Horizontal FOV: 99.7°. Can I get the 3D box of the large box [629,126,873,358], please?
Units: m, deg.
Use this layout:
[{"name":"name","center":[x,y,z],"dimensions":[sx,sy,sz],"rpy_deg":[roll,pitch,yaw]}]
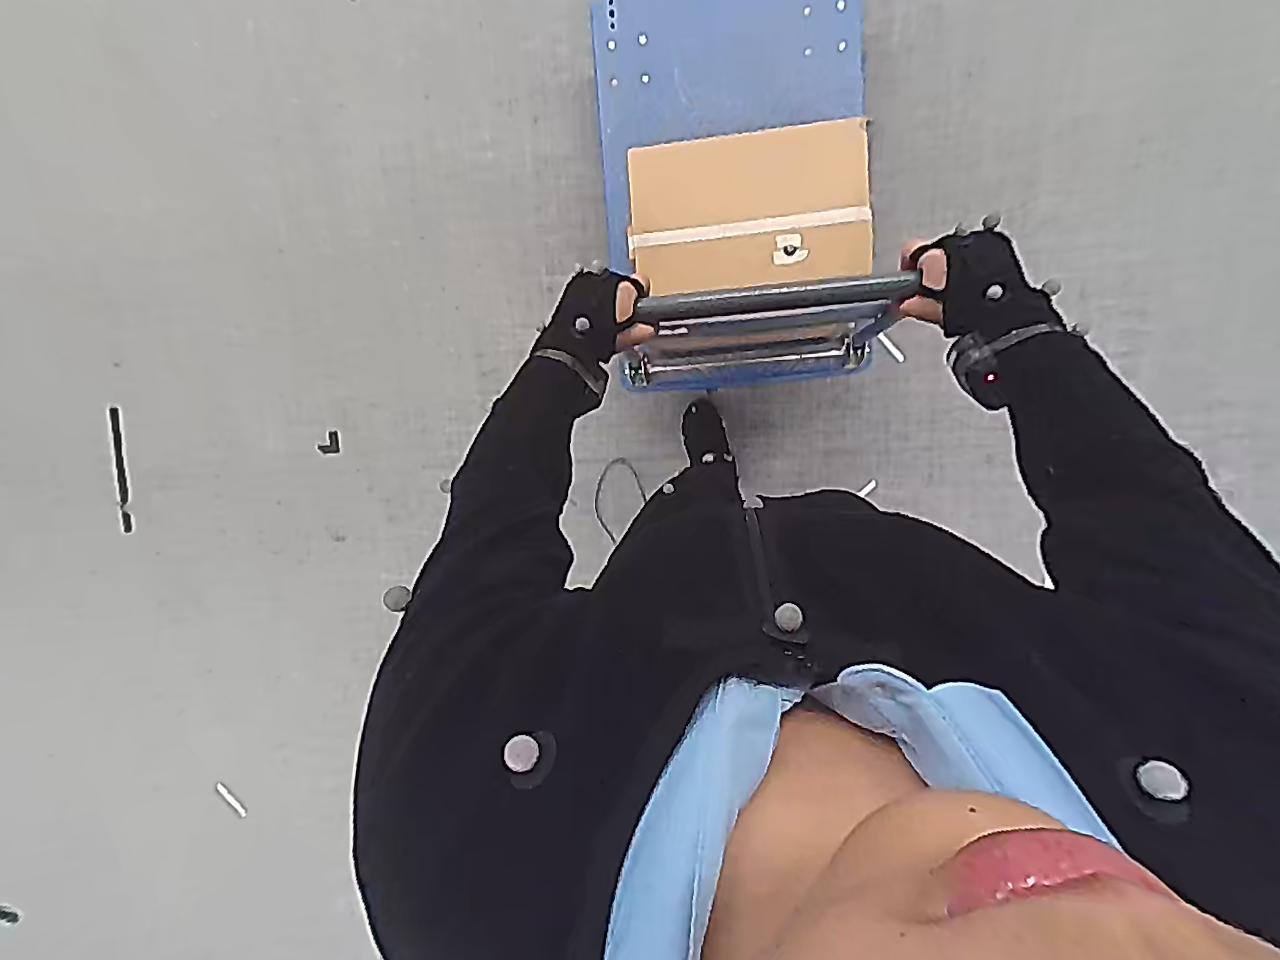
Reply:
[{"name":"large box","center":[0.203,-0.433,1.074],"dimensions":[0.408,0.320,0.320],"rpy_deg":[-4,96,6]}]
